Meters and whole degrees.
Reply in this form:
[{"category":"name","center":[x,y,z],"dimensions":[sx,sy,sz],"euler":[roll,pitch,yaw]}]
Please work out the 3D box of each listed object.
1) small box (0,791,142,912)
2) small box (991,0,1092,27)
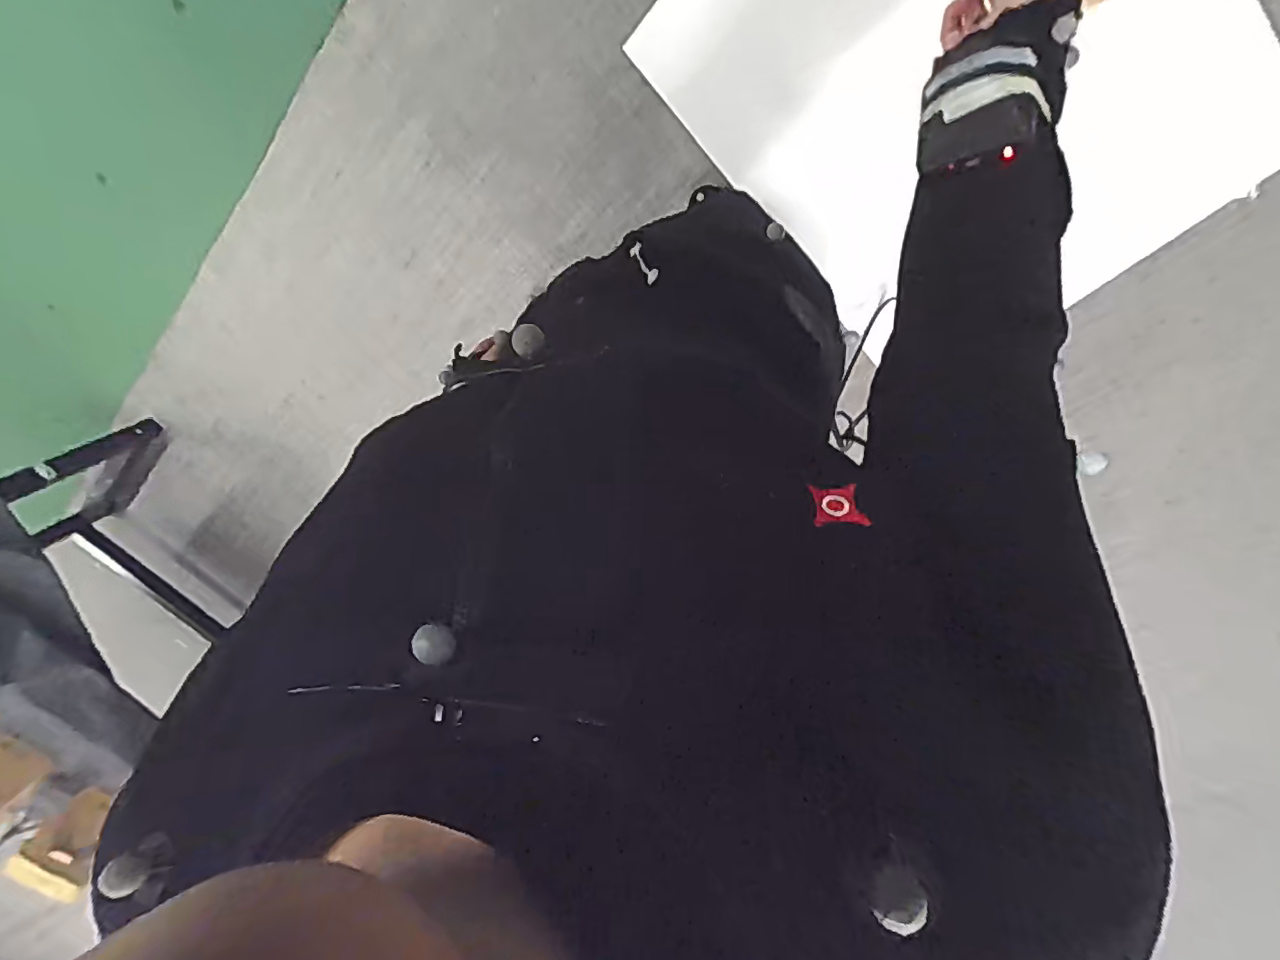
[{"category":"small box","center":[-1.379,0.904,1.319],"dimensions":[0.168,0.176,0.179],"euler":[41,118,-12]},{"category":"small box","center":[0.307,-0.454,0.361],"dimensions":[0.168,0.176,0.179],"euler":[29,122,-8]}]
